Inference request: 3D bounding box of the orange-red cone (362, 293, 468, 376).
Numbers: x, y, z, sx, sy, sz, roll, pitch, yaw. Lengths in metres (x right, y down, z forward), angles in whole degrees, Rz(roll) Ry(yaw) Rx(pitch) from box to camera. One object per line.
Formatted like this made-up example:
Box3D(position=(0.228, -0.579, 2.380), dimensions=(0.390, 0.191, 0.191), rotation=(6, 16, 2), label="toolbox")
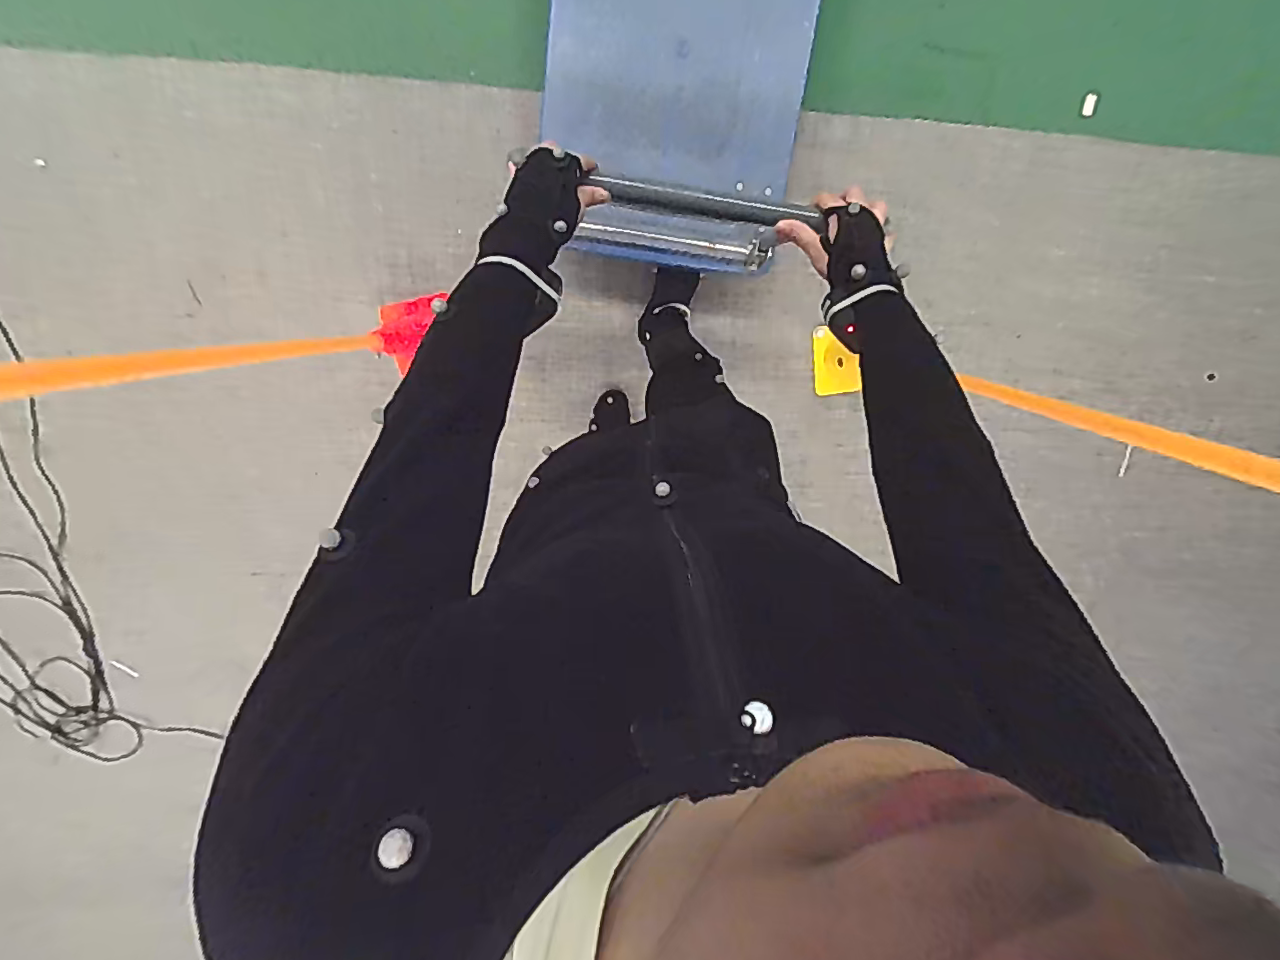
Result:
Box3D(position=(-0.575, -0.344, 1.301), dimensions=(0.199, 0.360, 0.198), rotation=(-12, 106, 1), label="orange-red cone")
